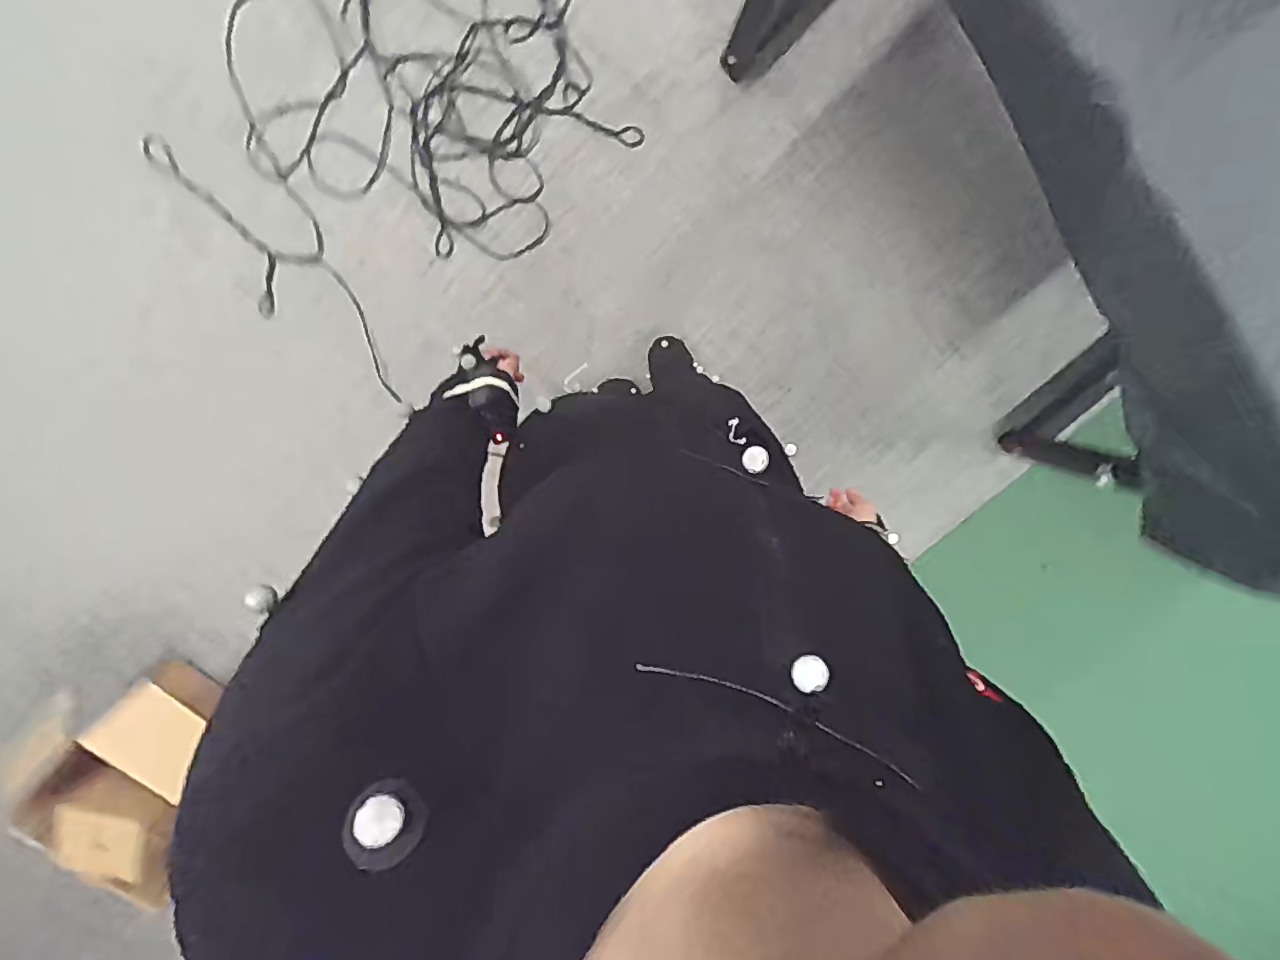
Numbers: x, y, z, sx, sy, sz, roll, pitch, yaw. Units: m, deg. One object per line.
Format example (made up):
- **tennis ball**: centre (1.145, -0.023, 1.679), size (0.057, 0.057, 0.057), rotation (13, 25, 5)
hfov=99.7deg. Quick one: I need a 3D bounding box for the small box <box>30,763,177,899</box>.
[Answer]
- **small box**: centre (-1.191, 0.780, 1.212), size (0.168, 0.176, 0.179), rotation (18, 103, -9)
